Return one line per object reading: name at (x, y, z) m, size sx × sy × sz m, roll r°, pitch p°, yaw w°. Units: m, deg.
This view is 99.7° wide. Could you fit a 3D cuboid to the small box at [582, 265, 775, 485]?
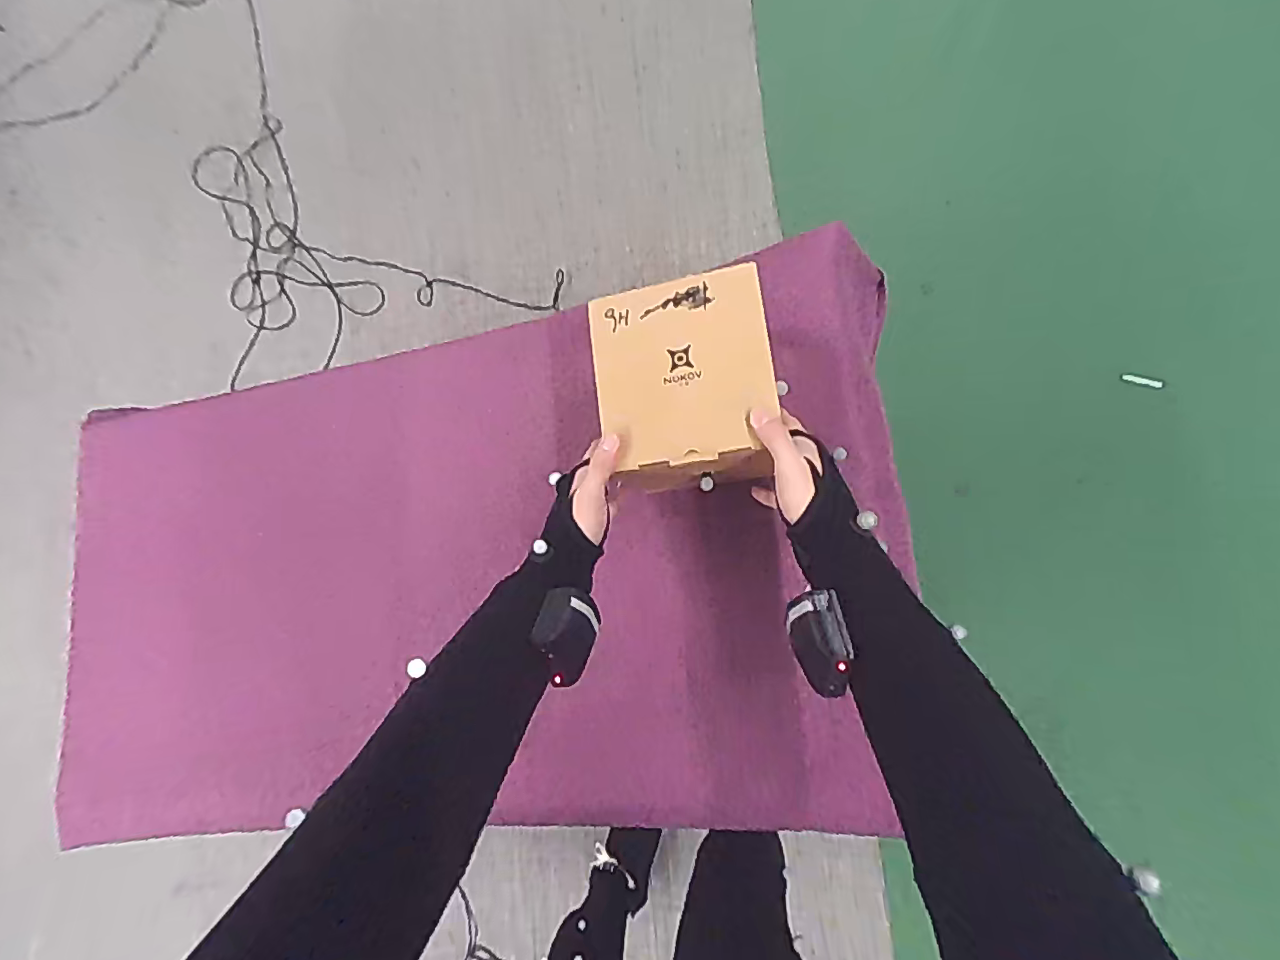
small box at (0.050, -0.092, 0.578) m, size 0.168 × 0.176 × 0.179 m, roll -9°, pitch 80°, yaw 13°
